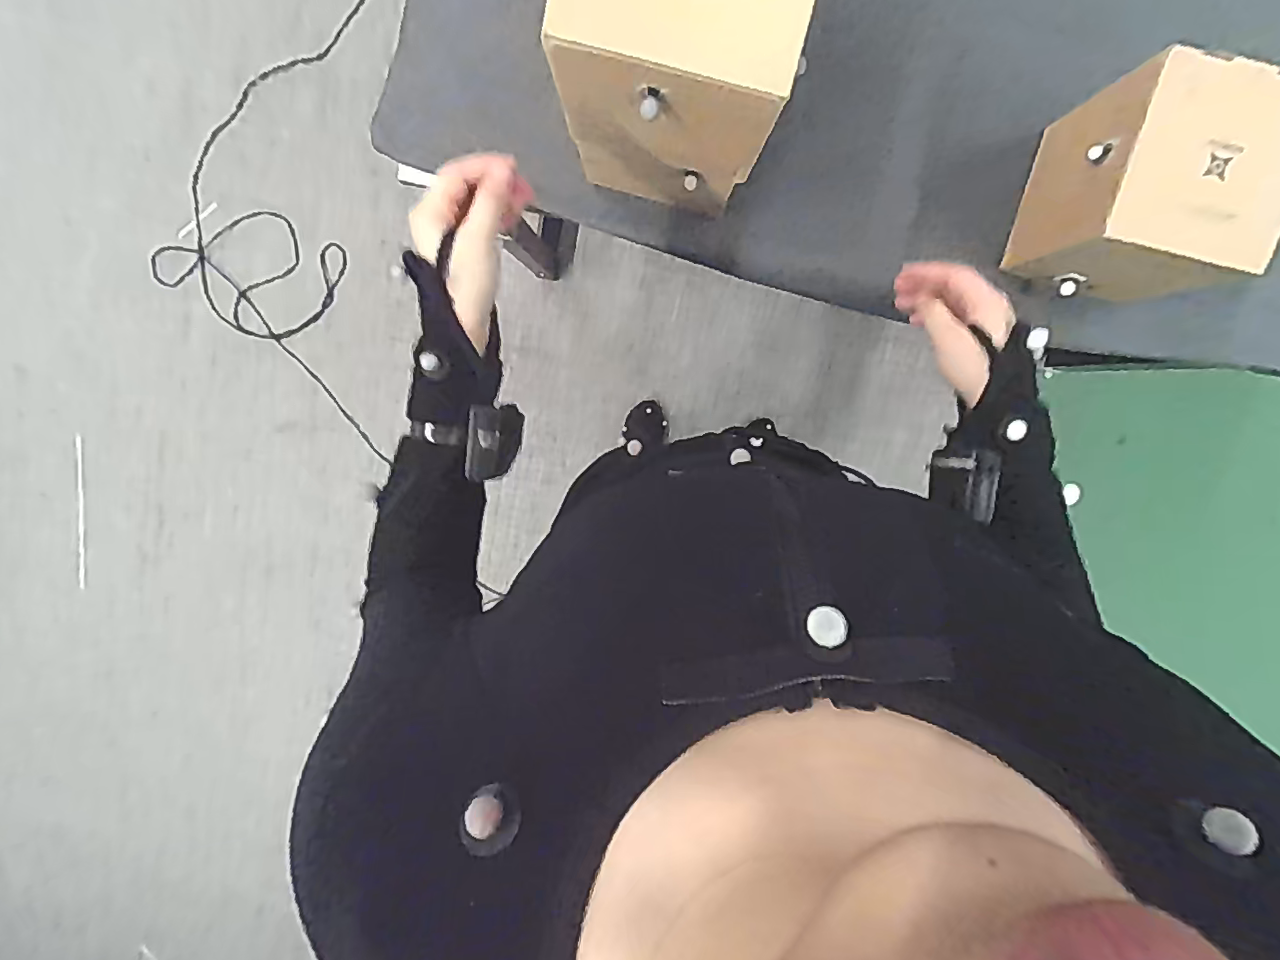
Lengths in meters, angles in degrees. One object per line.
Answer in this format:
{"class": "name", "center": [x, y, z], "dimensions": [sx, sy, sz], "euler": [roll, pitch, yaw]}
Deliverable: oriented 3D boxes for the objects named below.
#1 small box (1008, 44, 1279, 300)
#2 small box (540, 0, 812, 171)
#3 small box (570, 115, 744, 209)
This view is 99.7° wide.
{"class": "small box", "center": [0.549, -0.313, 0.589], "dimensions": [0.168, 0.176, 0.179], "euler": [13, 100, 0]}
{"class": "small box", "center": [0.037, -0.373, 0.430], "dimensions": [0.179, 0.176, 0.168], "euler": [14, 101, 0]}
{"class": "small box", "center": [0.038, -0.417, 0.587], "dimensions": [0.179, 0.176, 0.168], "euler": [15, 101, -1]}
